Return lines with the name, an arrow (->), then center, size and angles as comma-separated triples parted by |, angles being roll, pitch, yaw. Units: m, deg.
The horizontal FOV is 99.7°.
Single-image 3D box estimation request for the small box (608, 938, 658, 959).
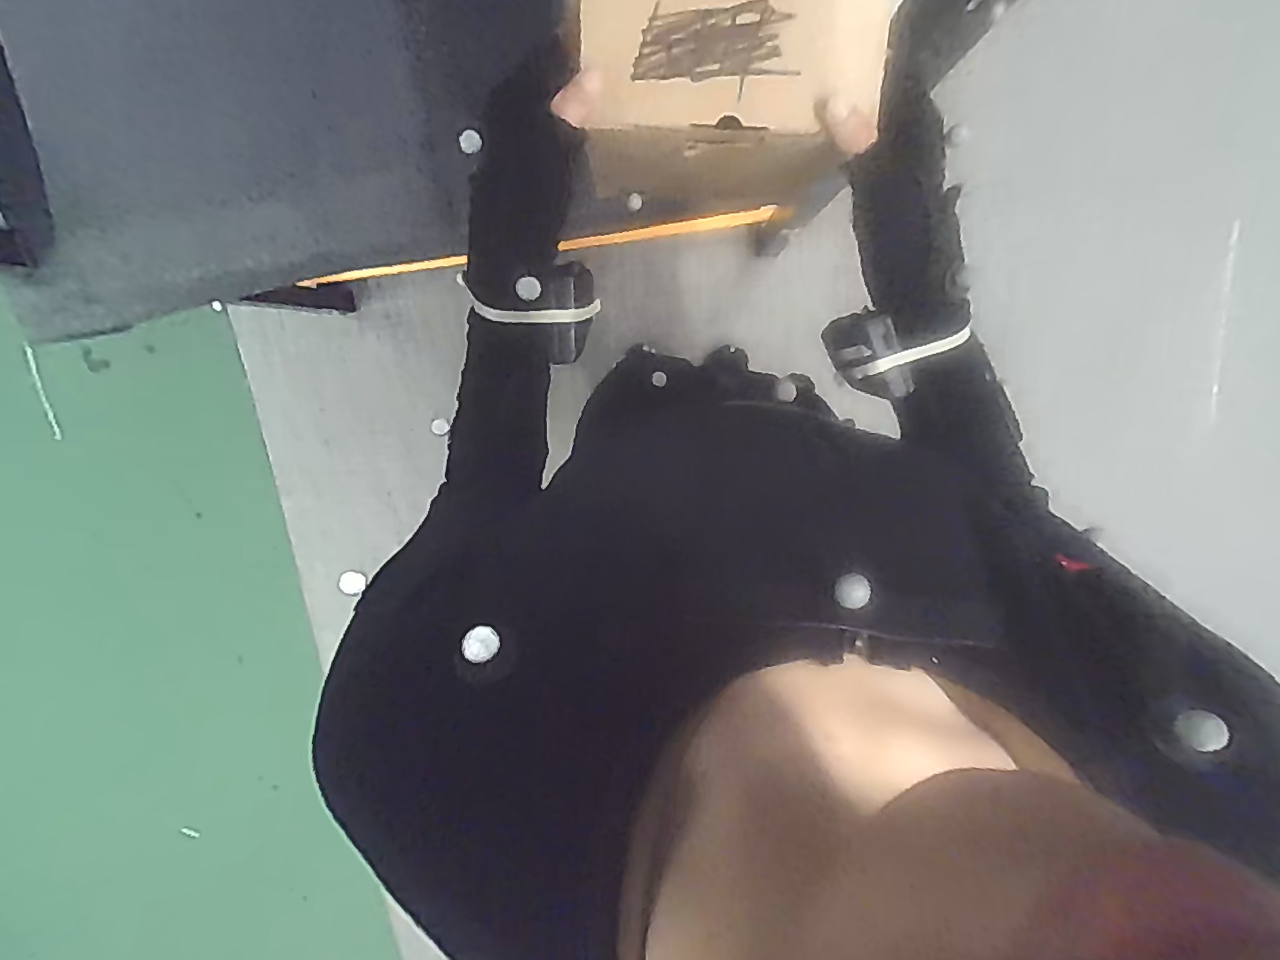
small box -> -0.023, 1.698, 1.819 | 0.168, 0.176, 0.179 | -3, 102, 6
